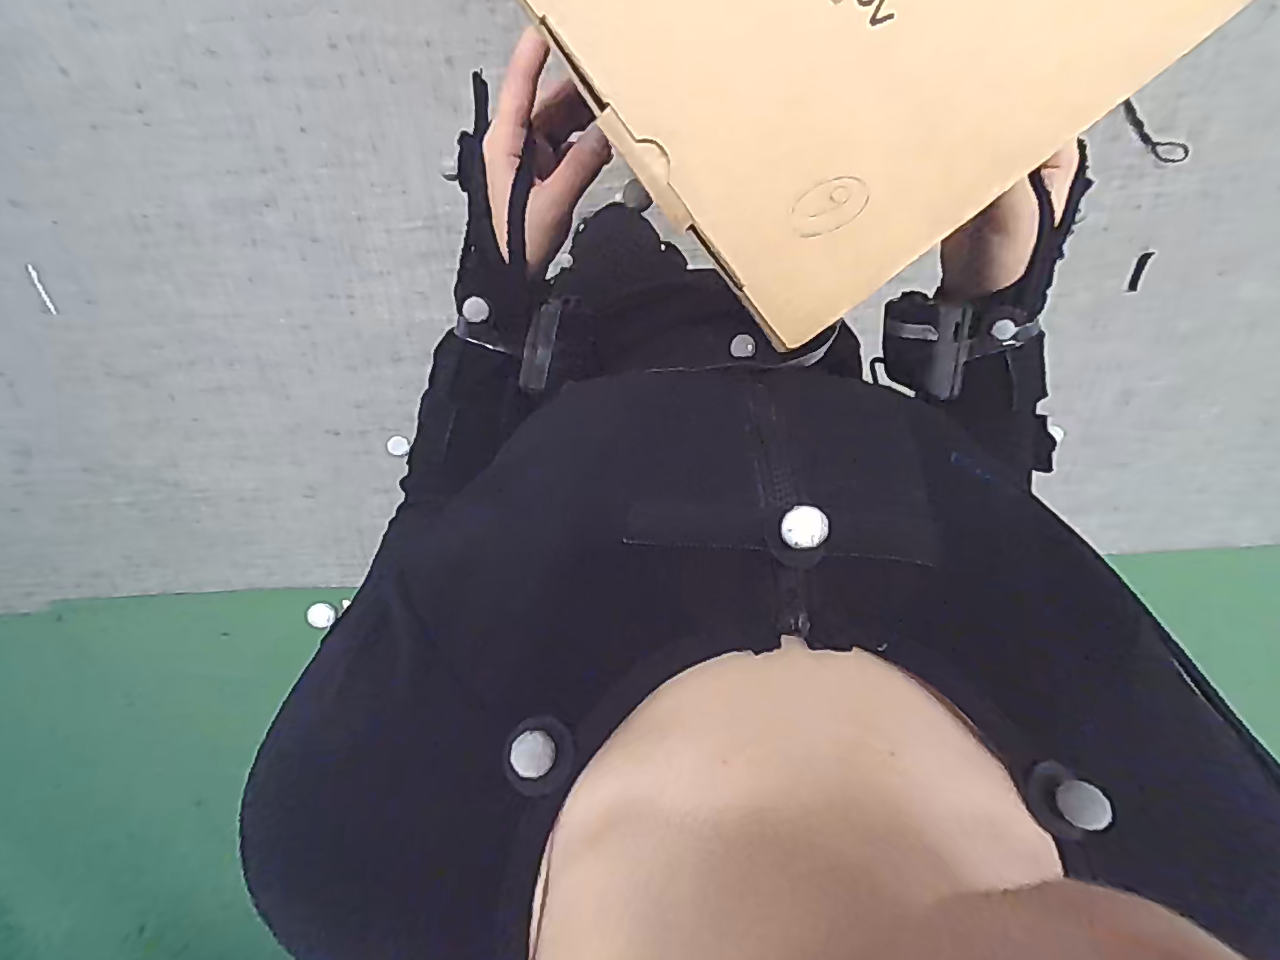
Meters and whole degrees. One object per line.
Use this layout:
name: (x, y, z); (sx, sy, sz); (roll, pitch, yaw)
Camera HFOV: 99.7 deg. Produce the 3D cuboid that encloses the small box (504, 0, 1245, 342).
small box: (0.070, -0.189, 0.227); (0.179, 0.176, 0.168); (-36, 108, 19)
